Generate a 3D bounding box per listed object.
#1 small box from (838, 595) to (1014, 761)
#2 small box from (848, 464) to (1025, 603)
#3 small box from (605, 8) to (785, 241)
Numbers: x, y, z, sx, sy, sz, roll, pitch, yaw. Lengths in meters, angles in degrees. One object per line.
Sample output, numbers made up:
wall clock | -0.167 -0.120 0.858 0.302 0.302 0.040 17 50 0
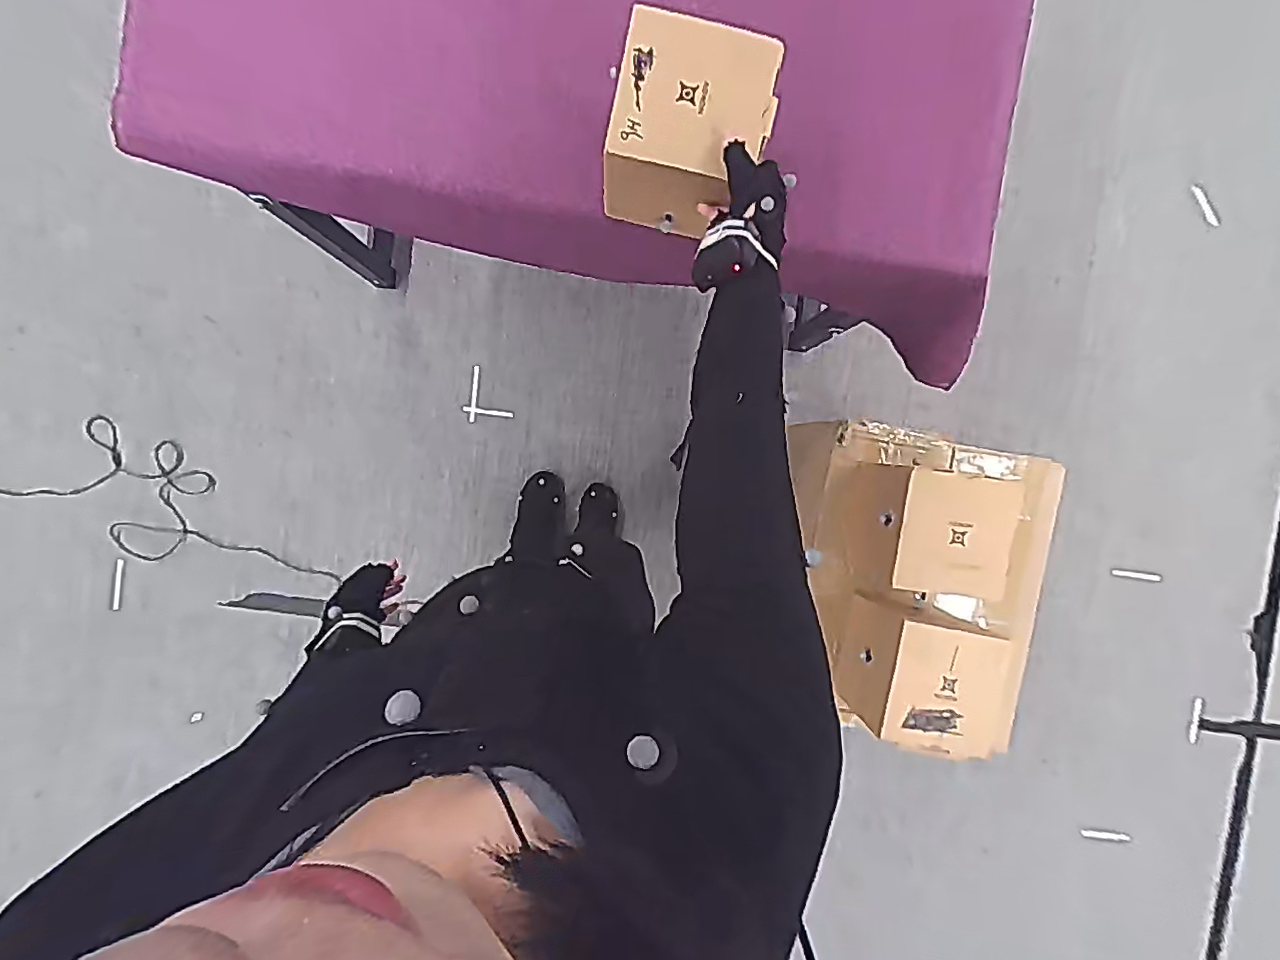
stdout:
small box | 0.427 0.295 0.837 0.168 0.176 0.179 12 90 -3
small box | 0.440 0.072 0.831 0.168 0.176 0.179 8 93 -2
small box | 0.057 -0.428 0.685 0.179 0.176 0.168 12 91 -4
